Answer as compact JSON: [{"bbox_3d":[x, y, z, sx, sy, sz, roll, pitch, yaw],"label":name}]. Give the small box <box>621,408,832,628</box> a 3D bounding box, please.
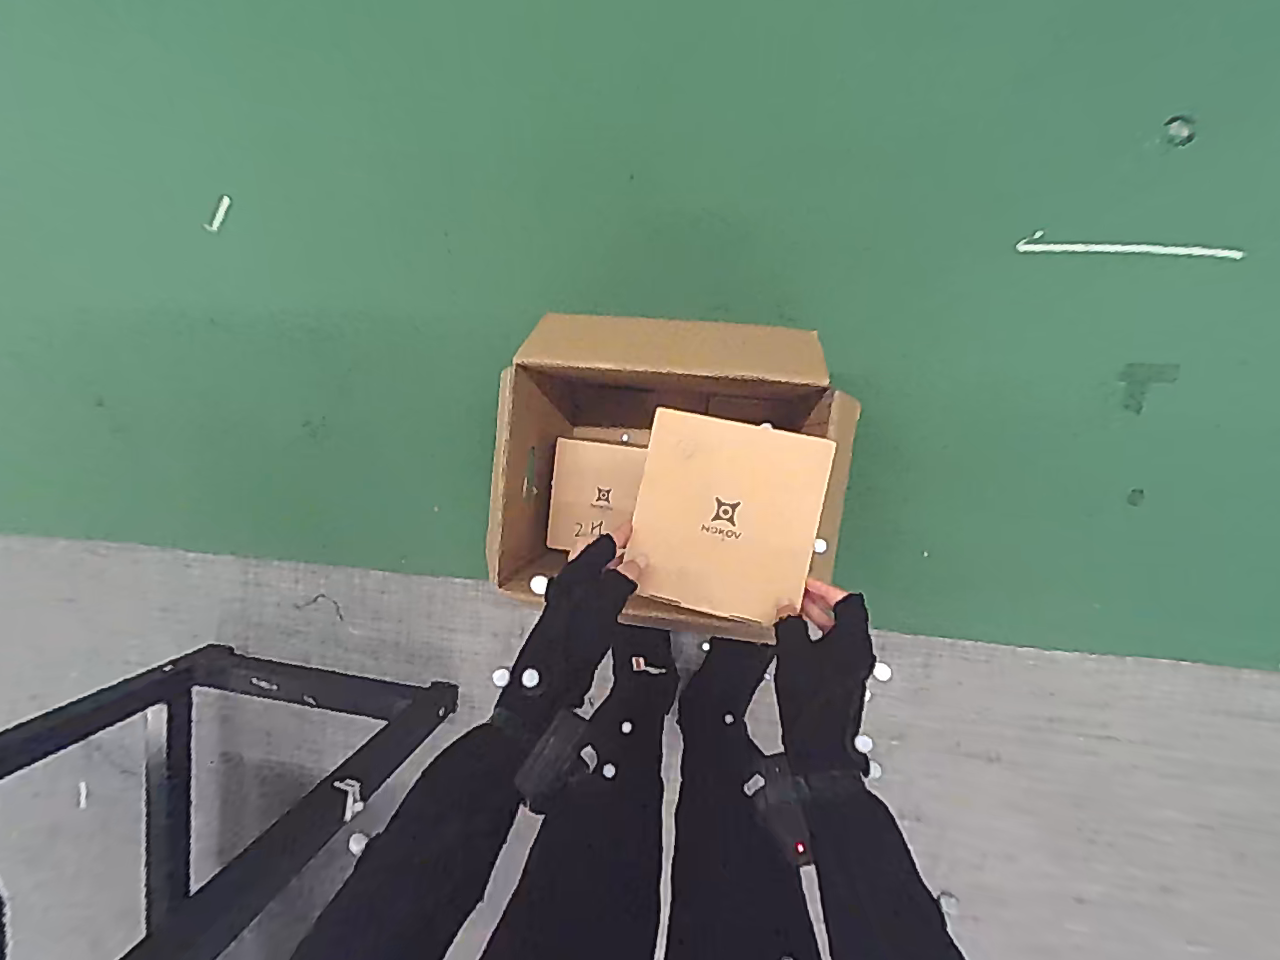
[{"bbox_3d":[0.089,0.036,0.575,0.168,0.176,0.179,12,90,9],"label":"small box"}]
